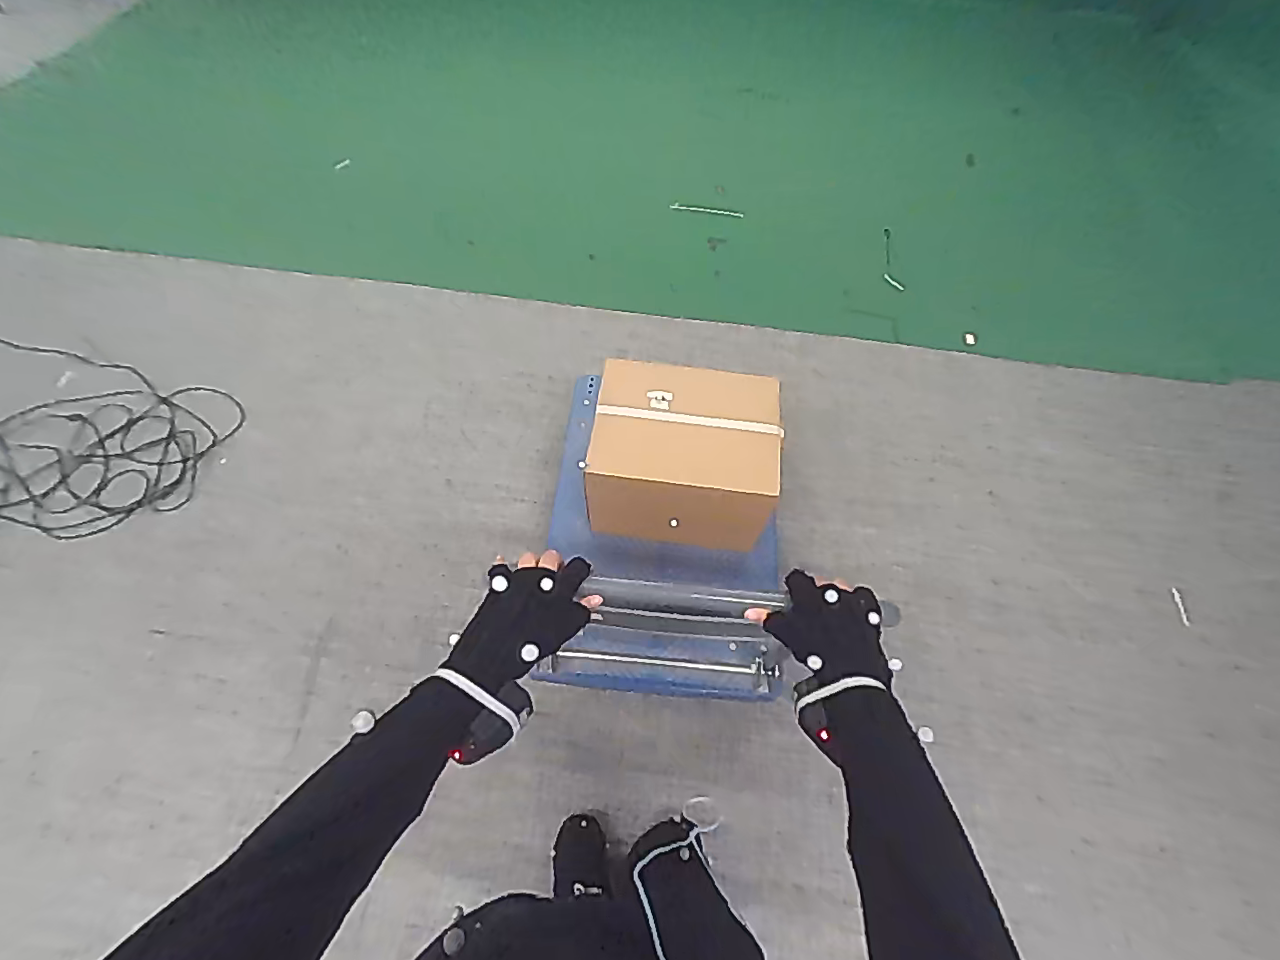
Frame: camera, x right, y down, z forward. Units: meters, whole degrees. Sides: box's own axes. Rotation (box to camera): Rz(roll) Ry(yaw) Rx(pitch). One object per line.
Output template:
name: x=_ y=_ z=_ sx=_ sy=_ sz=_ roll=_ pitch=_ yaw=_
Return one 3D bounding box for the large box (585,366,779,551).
large box: x=0.100 y=-0.040 z=1.301 sx=0.408 sy=0.320 sz=0.320 roll=7 pitch=60 yaw=3
